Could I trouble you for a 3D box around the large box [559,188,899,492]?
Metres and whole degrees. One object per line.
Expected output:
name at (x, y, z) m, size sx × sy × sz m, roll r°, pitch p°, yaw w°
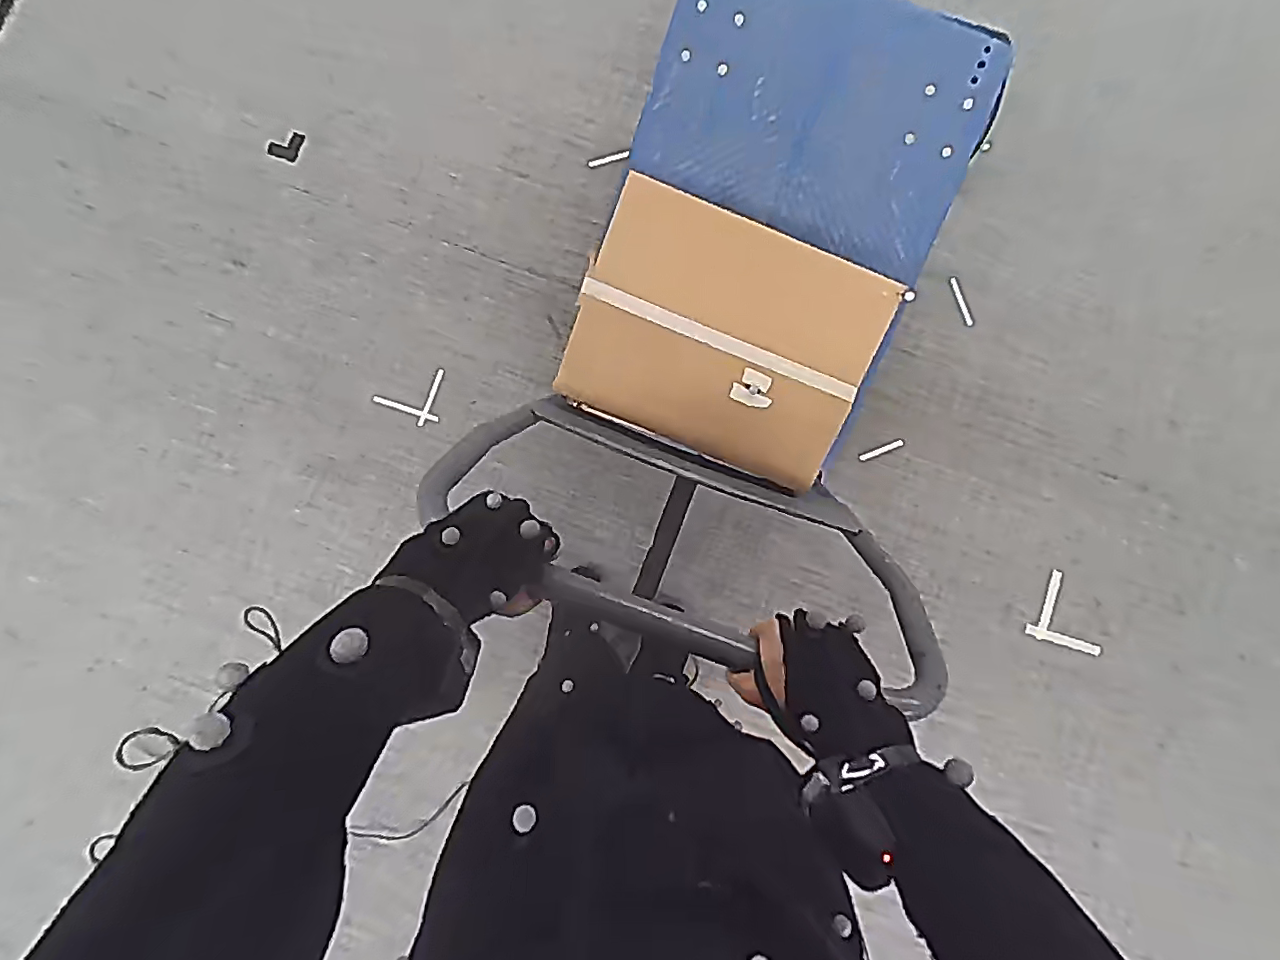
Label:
large box at (0.122, -0.216, 0.905) m, size 0.408 × 0.320 × 0.320 m, roll 22°, pitch 102°, yaw -2°
